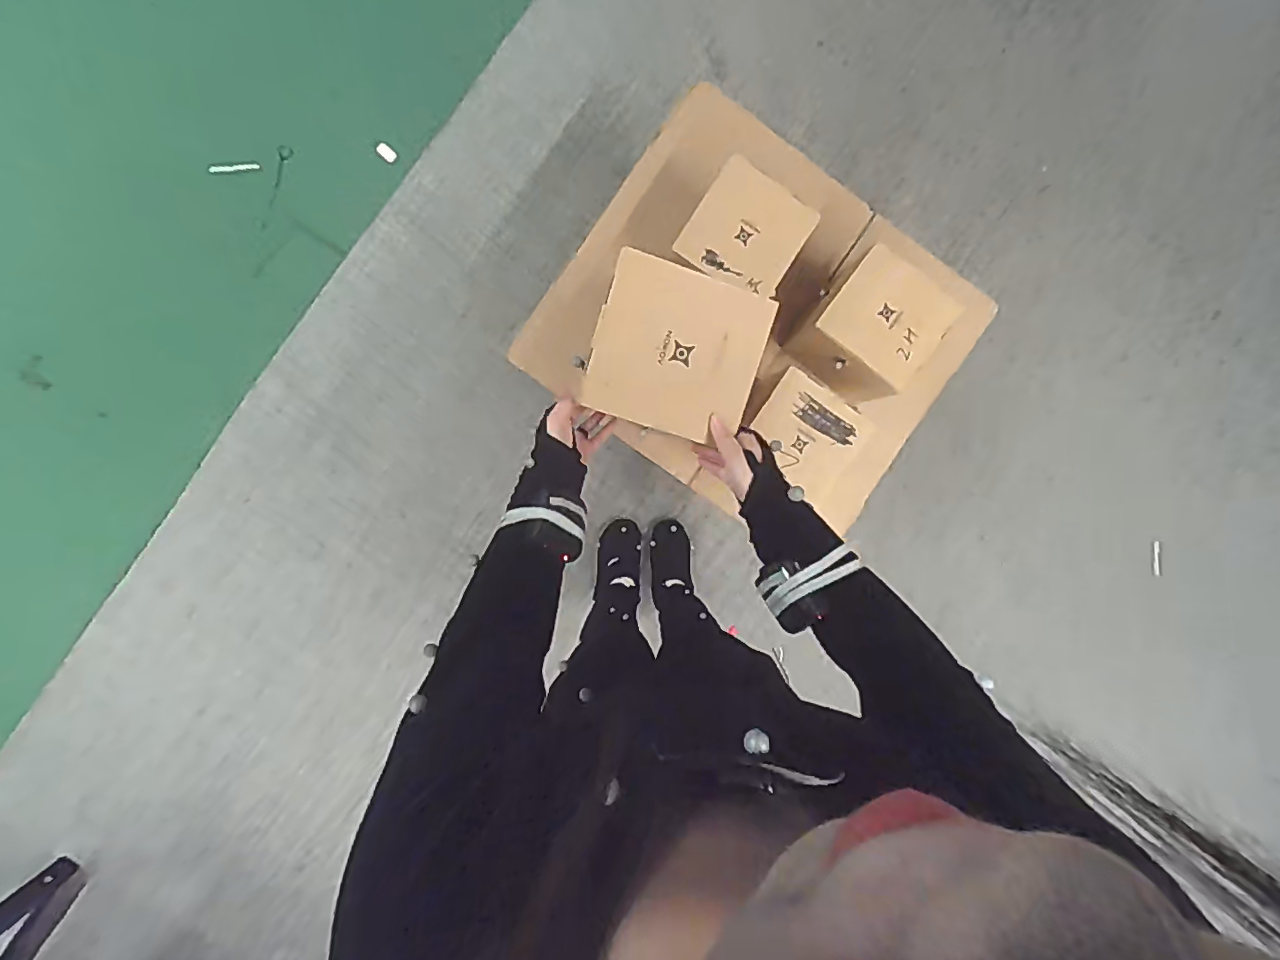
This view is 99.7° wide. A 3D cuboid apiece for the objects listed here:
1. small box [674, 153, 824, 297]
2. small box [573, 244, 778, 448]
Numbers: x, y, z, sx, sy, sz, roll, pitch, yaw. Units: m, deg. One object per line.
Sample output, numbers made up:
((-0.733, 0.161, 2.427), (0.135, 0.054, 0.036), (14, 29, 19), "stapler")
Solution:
((0.160, -0.373, 0.886), (0.168, 0.176, 0.179), (34, 89, -2), "small box")
((0.028, -0.143, 0.628), (0.179, 0.176, 0.168), (16, 96, -9), "small box")
